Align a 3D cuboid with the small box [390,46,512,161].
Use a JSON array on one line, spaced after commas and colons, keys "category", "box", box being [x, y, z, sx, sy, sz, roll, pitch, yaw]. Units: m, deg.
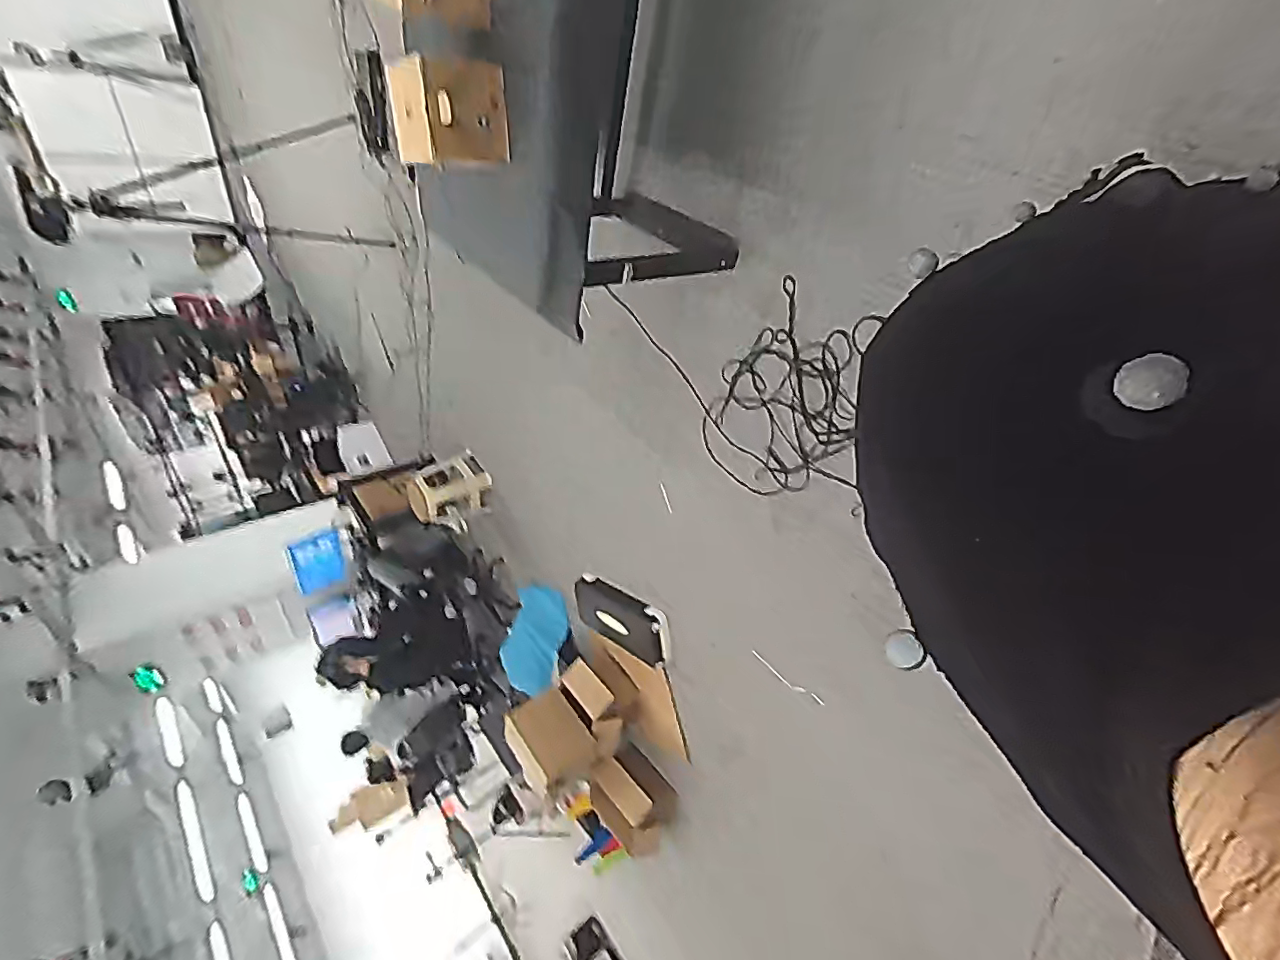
[{"category": "small box", "box": [-0.377, -0.745, 1.091, 0.179, 0.176, 0.168, 28, 128, 42]}]
